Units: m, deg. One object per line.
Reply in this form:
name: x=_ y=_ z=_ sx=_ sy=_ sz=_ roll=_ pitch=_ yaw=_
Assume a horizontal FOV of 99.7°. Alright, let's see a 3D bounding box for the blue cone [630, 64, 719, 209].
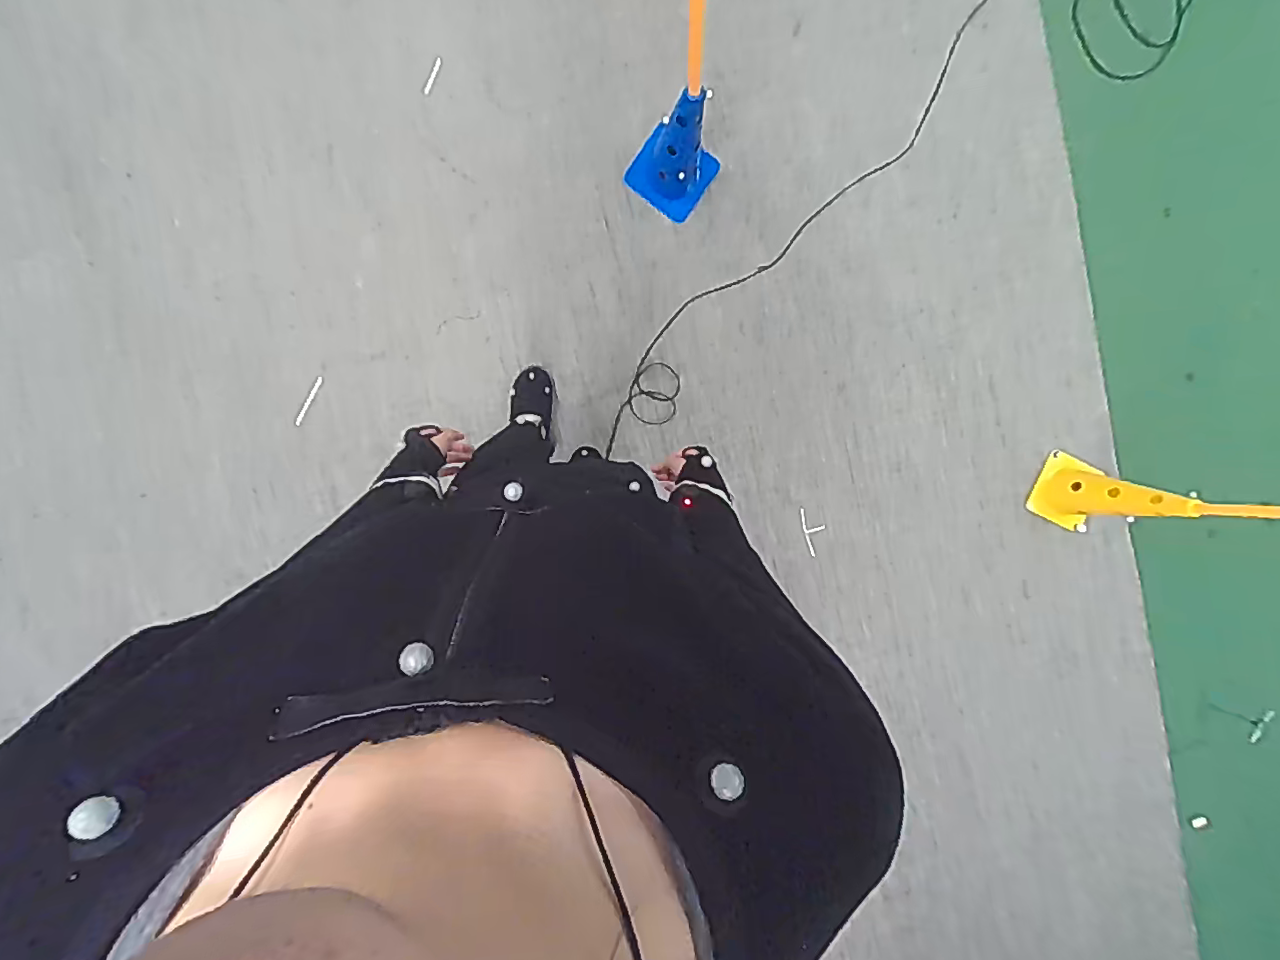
blue cone: x=0.099 y=-0.811 z=1.250 sx=0.193 sy=0.380 sz=0.192 roll=33 pitch=92 yaw=-6
